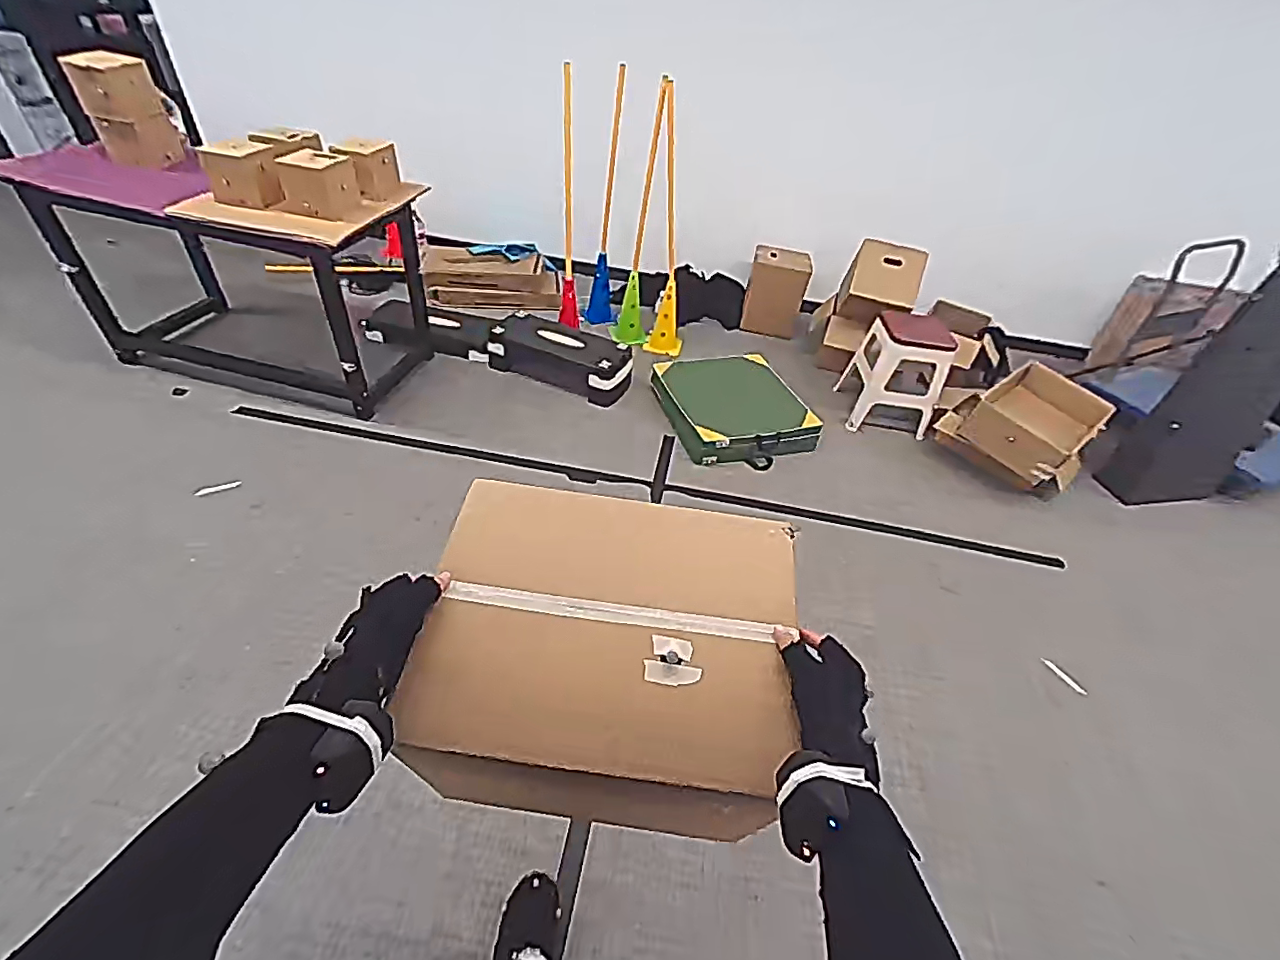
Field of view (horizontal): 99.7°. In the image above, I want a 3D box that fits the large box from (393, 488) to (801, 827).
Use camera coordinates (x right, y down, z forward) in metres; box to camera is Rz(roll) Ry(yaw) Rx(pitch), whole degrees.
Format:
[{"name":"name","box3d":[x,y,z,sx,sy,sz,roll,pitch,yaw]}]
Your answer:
[{"name":"large box","box3d":[-0.042,0.244,0.723,0.408,0.320,0.320,8,51,0]}]
